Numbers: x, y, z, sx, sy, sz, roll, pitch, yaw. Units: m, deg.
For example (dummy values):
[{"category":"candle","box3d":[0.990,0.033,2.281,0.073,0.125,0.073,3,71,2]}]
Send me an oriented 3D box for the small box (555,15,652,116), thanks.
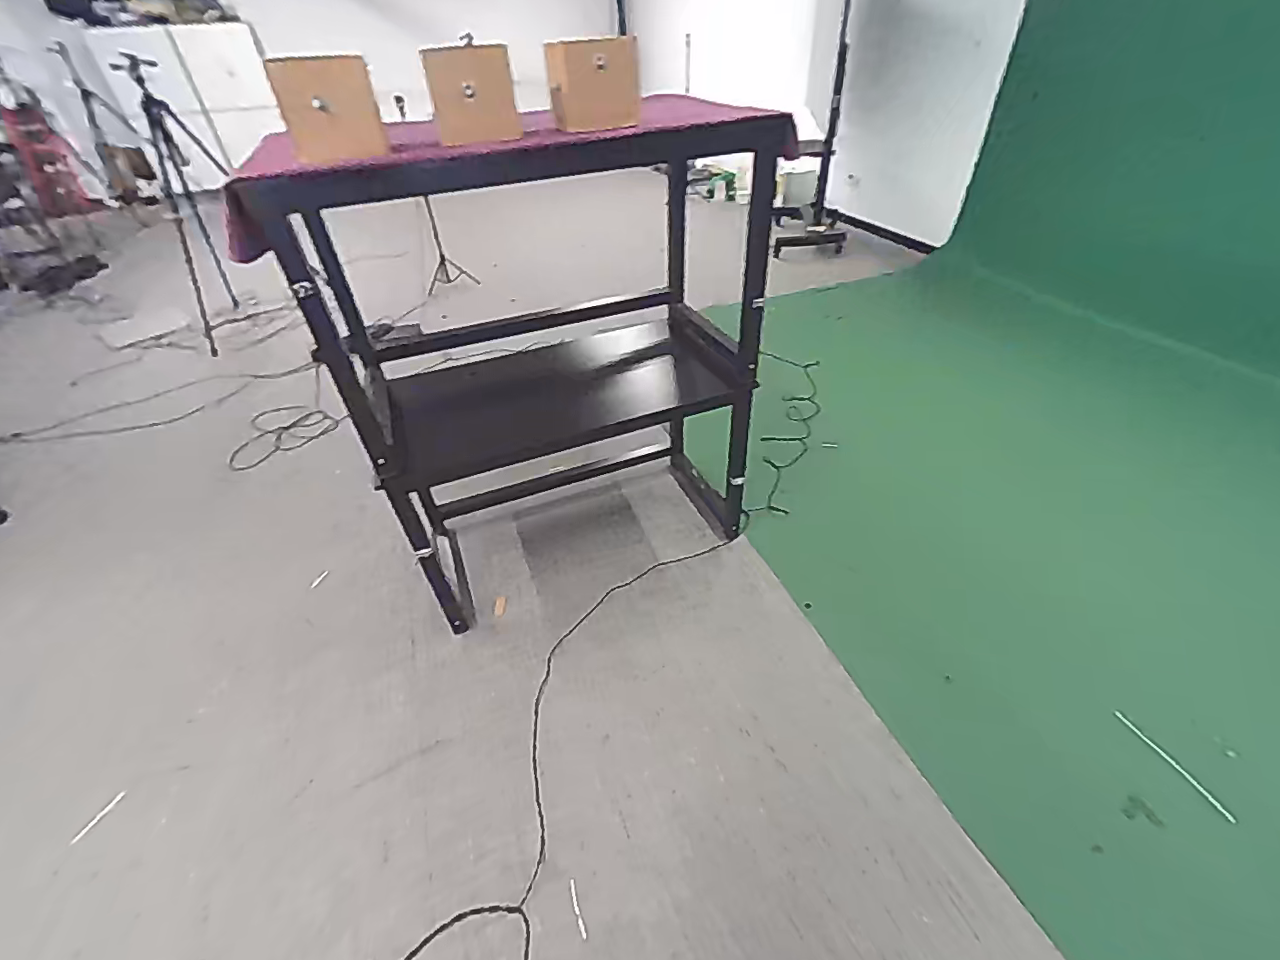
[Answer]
[{"category":"small box","box3d":[-0.078,-0.929,1.216,0.179,0.176,0.168,-14,42,-14]}]
